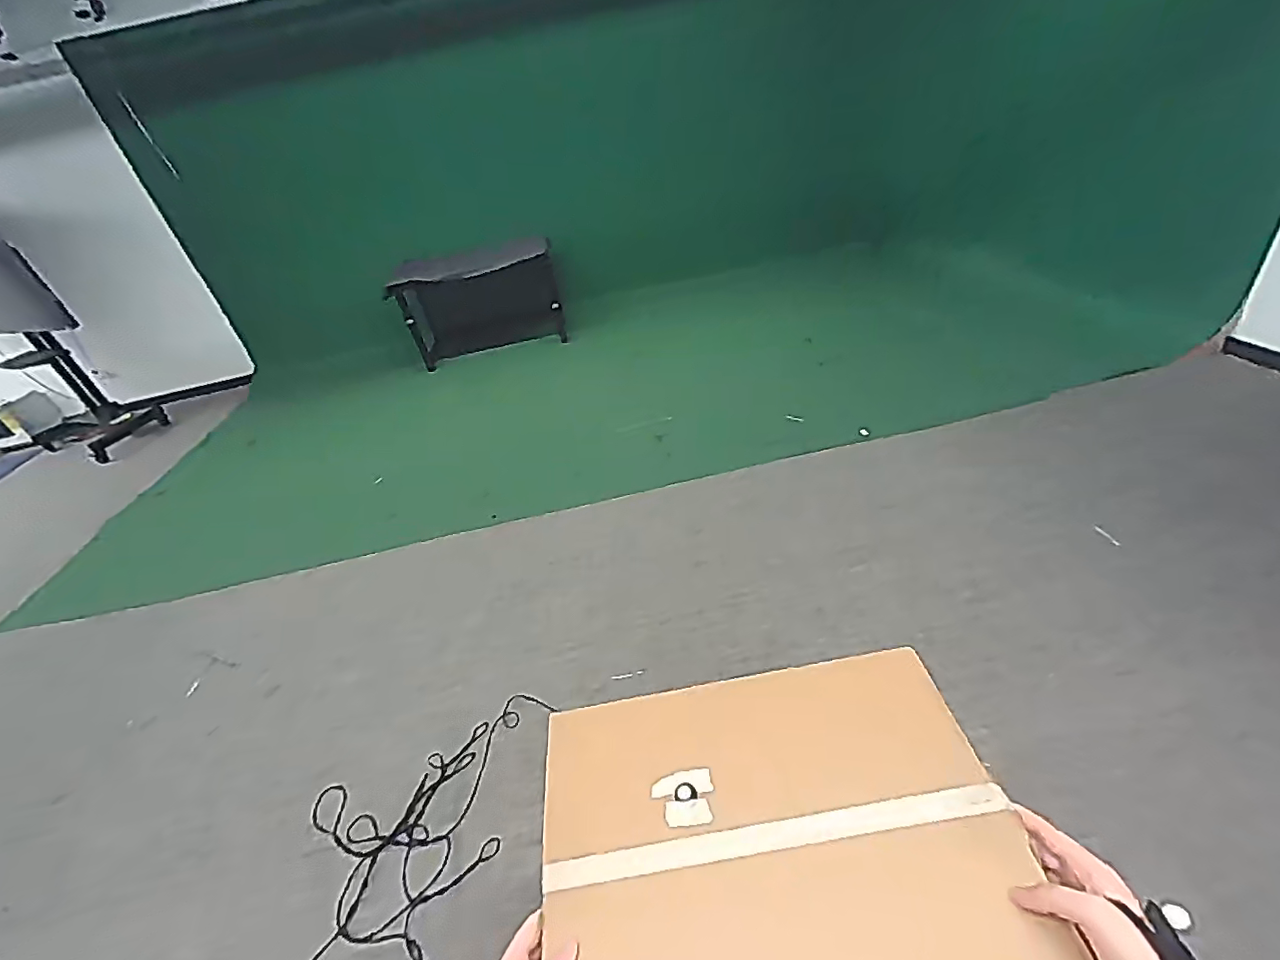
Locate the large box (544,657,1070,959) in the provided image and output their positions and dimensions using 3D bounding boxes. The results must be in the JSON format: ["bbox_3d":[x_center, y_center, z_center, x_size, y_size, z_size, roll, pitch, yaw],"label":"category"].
[{"bbox_3d":[0.140,0.441,0.572,0.408,0.320,0.320,-13,38,3],"label":"large box"}]
